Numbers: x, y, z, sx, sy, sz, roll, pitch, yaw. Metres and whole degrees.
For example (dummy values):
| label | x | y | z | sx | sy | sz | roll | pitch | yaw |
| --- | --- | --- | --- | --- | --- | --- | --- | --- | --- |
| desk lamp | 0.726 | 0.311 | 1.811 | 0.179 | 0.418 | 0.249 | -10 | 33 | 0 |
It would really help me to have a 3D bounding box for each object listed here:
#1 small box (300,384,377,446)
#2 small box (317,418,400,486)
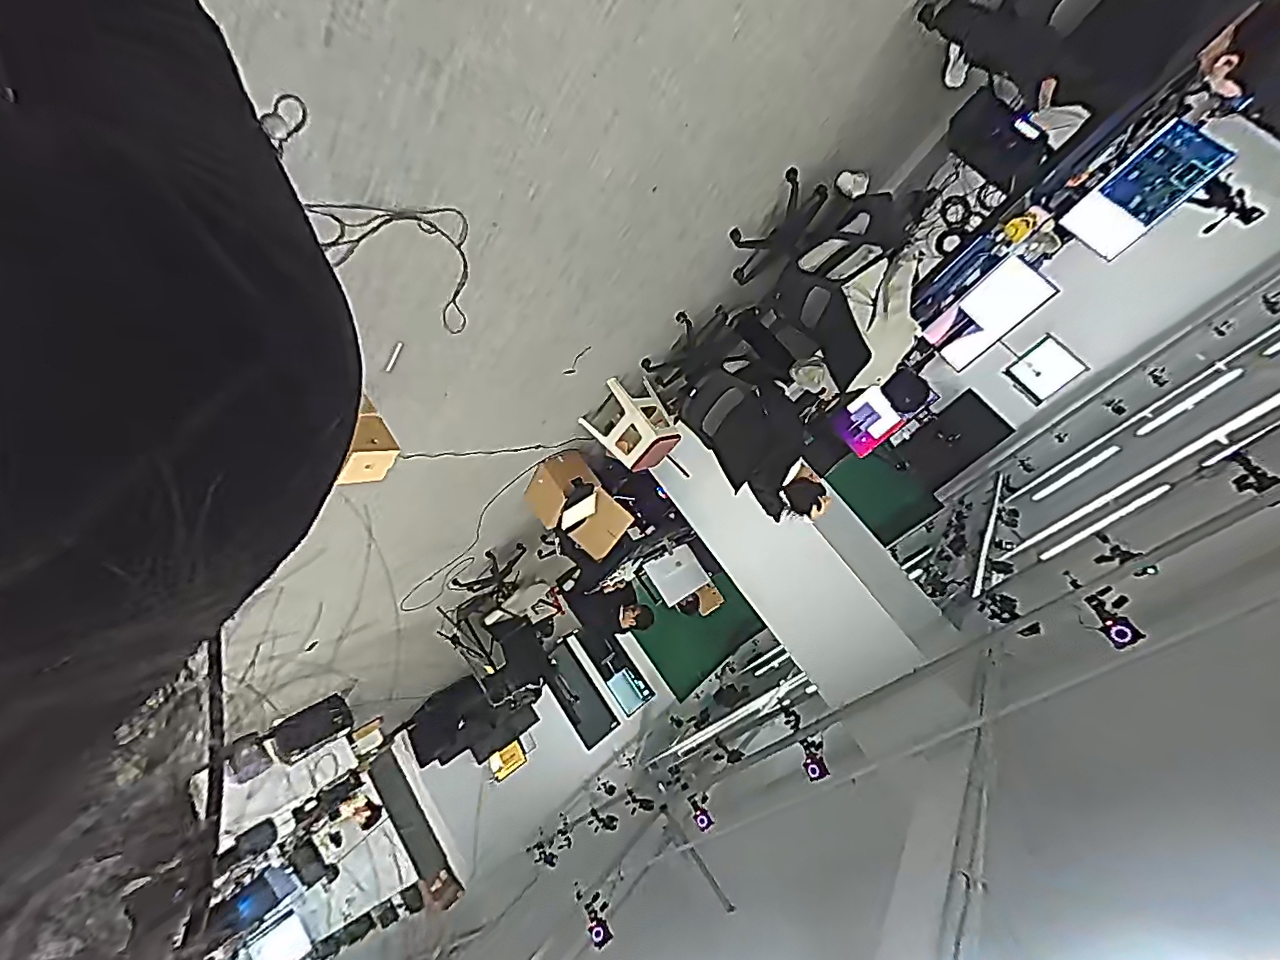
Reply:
| label | x | y | z | sx | sy | sz | roll | pitch | yaw |
| --- | --- | --- | --- | --- | --- | --- | --- | --- | --- |
| small box | -1.077 | -0.228 | 1.922 | 0.179 | 0.176 | 0.168 | -49 | 161 | 31 |
| small box | -0.981 | -0.102 | 1.882 | 0.168 | 0.176 | 0.179 | -47 | 161 | 27 |
